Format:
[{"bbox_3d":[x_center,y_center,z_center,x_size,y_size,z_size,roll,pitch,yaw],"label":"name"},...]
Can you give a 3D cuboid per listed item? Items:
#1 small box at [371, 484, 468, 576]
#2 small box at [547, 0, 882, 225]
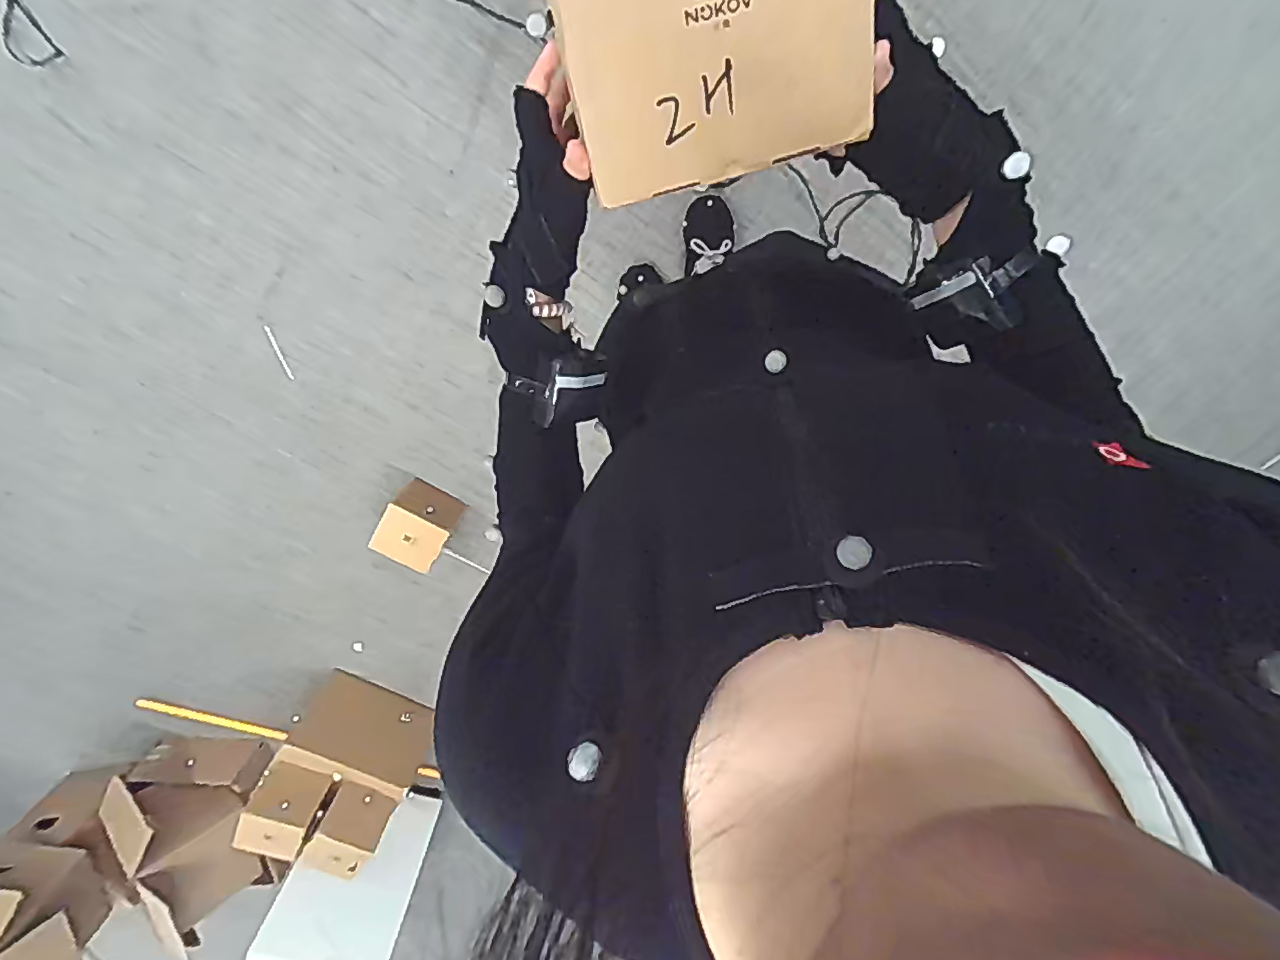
[{"bbox_3d":[-0.619,0.133,1.533,0.179,0.176,0.168,30,111,-14],"label":"small box"},{"bbox_3d":[0.032,-0.281,0.337,0.168,0.176,0.179,-14,124,2],"label":"small box"}]
